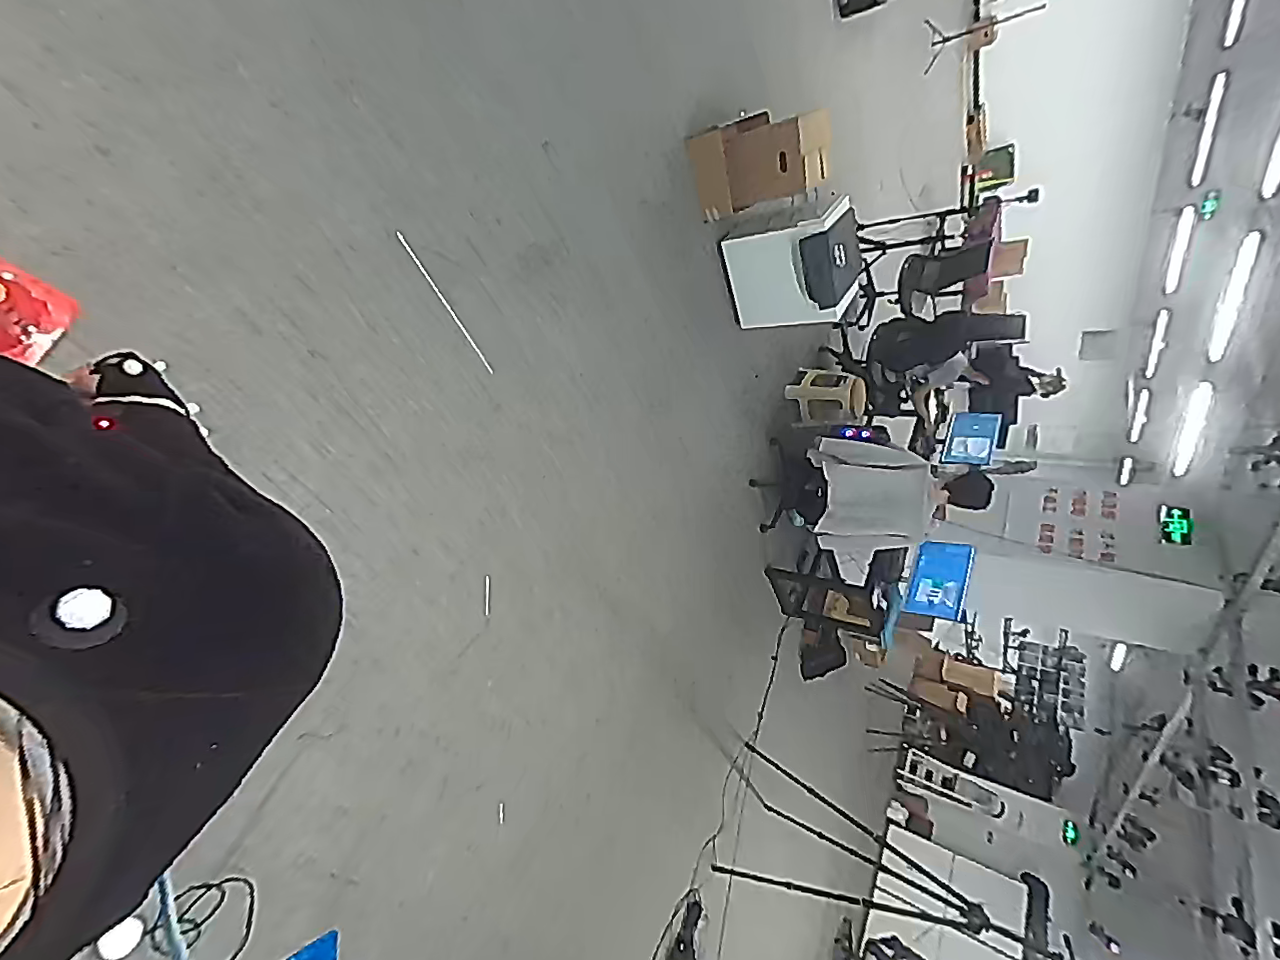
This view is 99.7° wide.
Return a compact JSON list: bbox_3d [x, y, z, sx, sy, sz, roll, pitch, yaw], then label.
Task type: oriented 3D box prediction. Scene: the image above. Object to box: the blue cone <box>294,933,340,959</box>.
[{"bbox_3d":[-0.808,1.425,1.429,0.193,0.380,0.192,-4,97,-55],"label":"blue cone"}]
